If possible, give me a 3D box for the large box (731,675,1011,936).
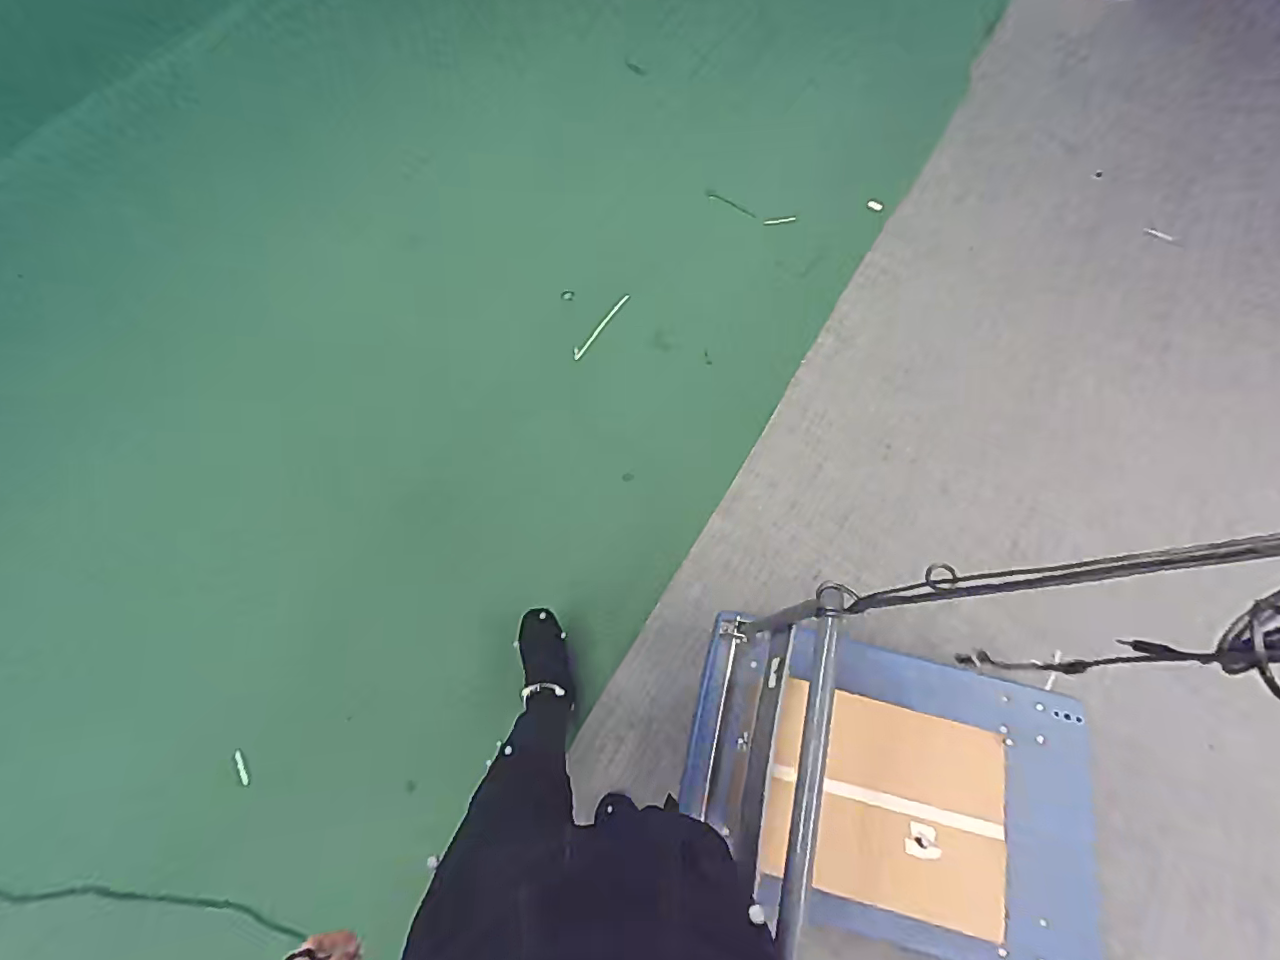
[{"bbox_3d":[0.420,0.591,1.054,0.408,0.320,0.320,14,70,5],"label":"large box"}]
